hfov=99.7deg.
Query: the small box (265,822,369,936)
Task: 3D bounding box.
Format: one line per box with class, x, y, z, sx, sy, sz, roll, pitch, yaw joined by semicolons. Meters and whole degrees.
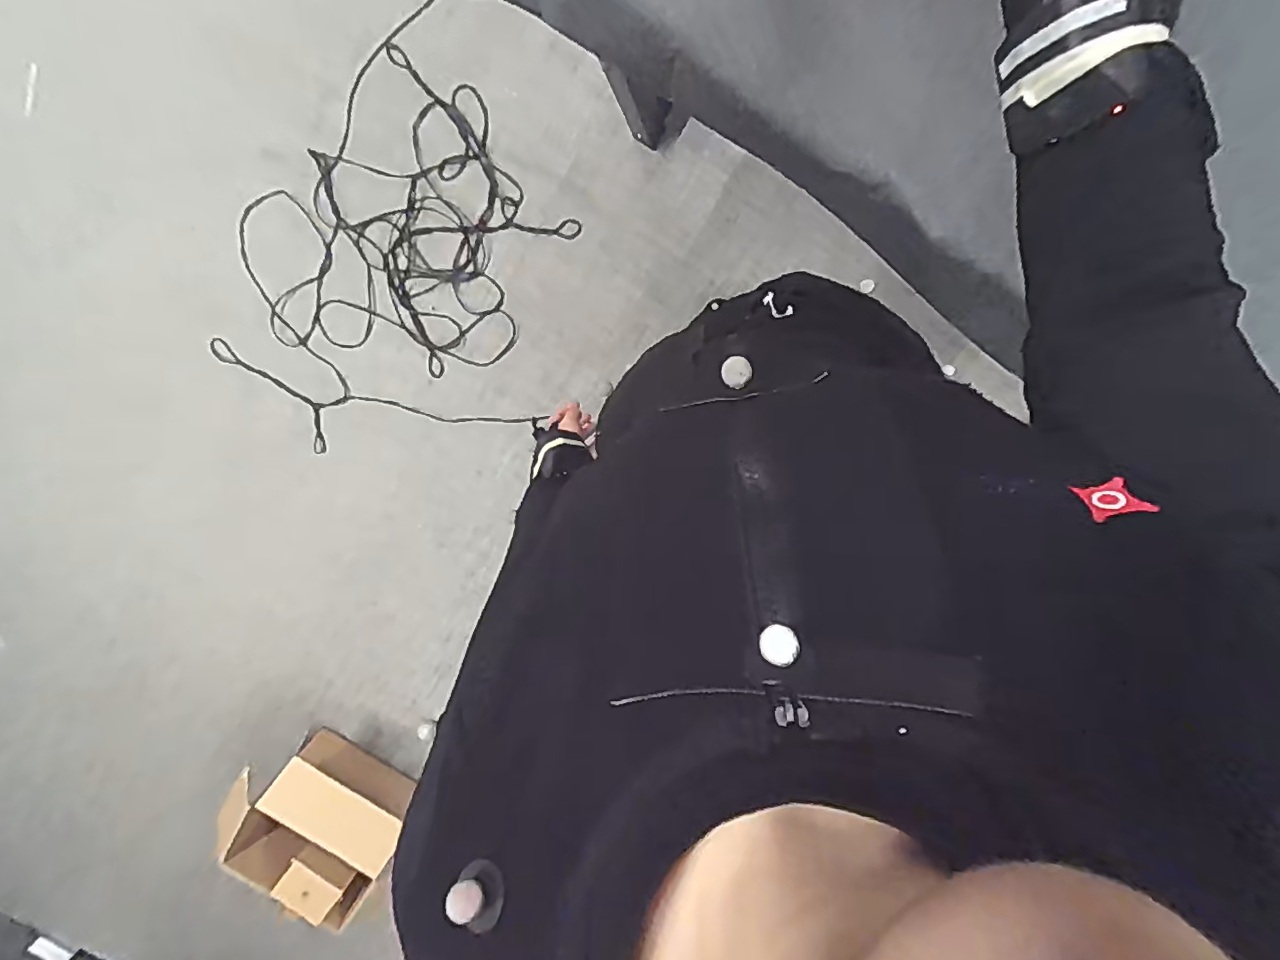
small box;-0.932;1.156;1.577;0.168;0.176;0.179;37;105;-4
